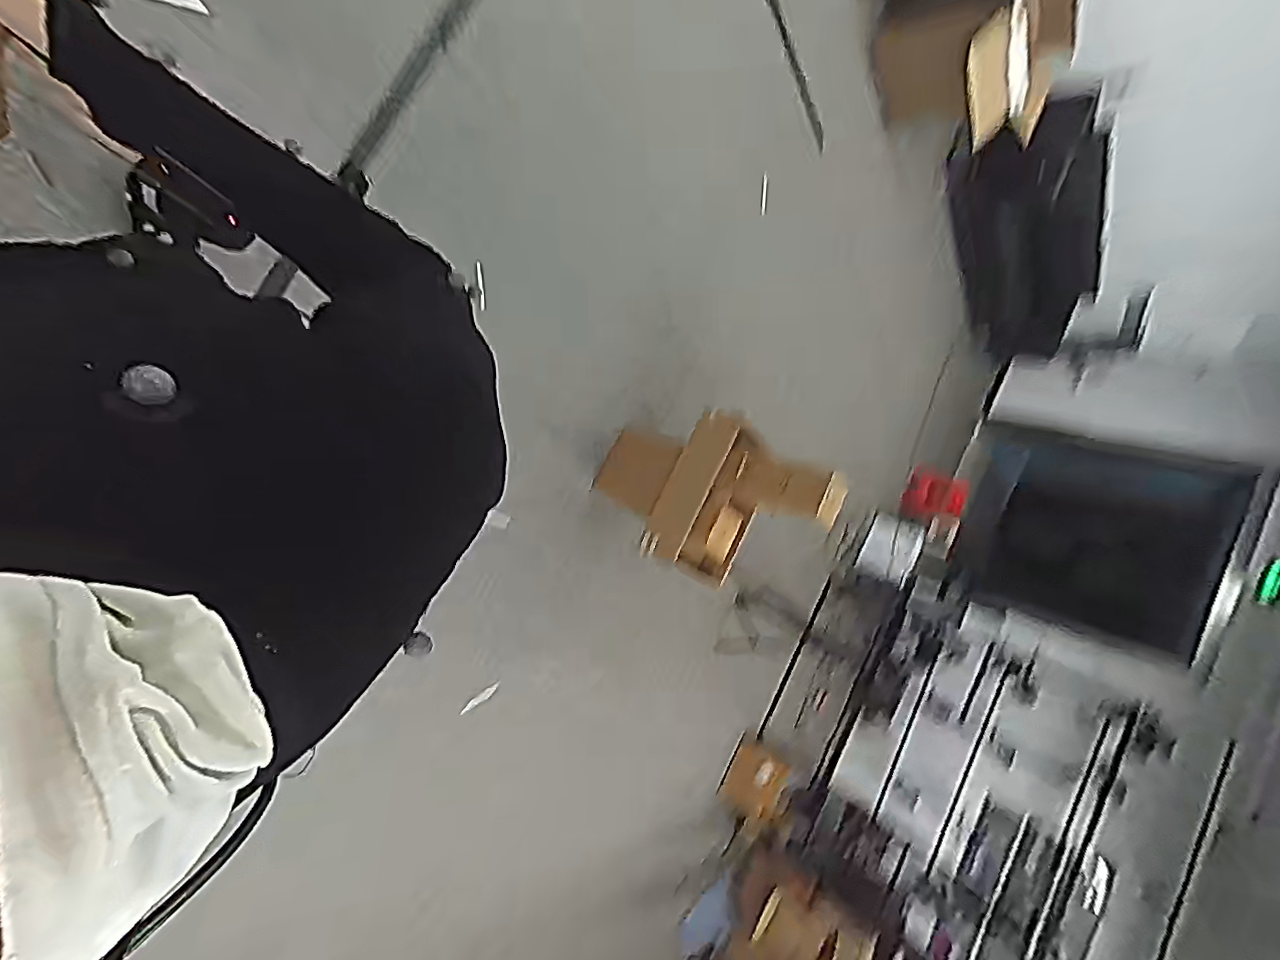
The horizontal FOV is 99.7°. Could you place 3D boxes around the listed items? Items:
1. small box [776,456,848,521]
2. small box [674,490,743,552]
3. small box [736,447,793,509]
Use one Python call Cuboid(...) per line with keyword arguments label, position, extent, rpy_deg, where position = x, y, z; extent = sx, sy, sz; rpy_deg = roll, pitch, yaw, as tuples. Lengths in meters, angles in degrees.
Cuboid(label="small box", position=(0.614, 0.027, 1.931), extent=(0.179, 0.176, 0.168), rpy_deg=(31, 82, -50))
Cuboid(label="small box", position=(0.266, 0.154, 2.110), extent=(0.179, 0.176, 0.168), rpy_deg=(37, 76, -48))
Cuboid(label="small box", position=(0.494, -0.010, 2.037), extent=(0.179, 0.176, 0.168), rpy_deg=(30, 82, -49))
